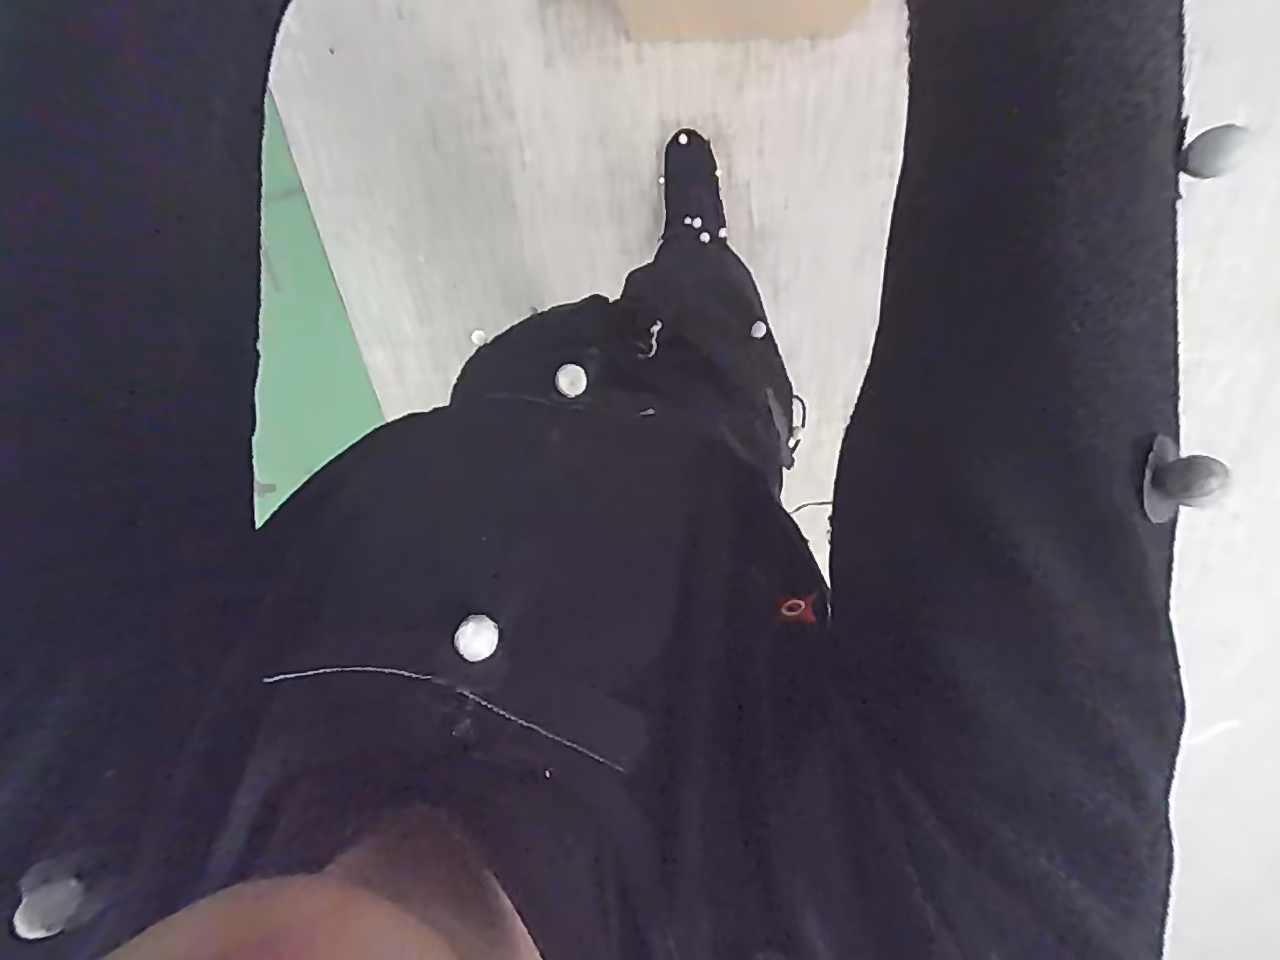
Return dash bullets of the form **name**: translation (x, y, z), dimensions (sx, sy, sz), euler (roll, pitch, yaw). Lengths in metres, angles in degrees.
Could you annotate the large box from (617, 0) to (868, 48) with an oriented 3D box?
- **large box**: translation (0.159, -0.891, 0.808), dimensions (0.408, 0.320, 0.320), euler (0, 116, 4)
